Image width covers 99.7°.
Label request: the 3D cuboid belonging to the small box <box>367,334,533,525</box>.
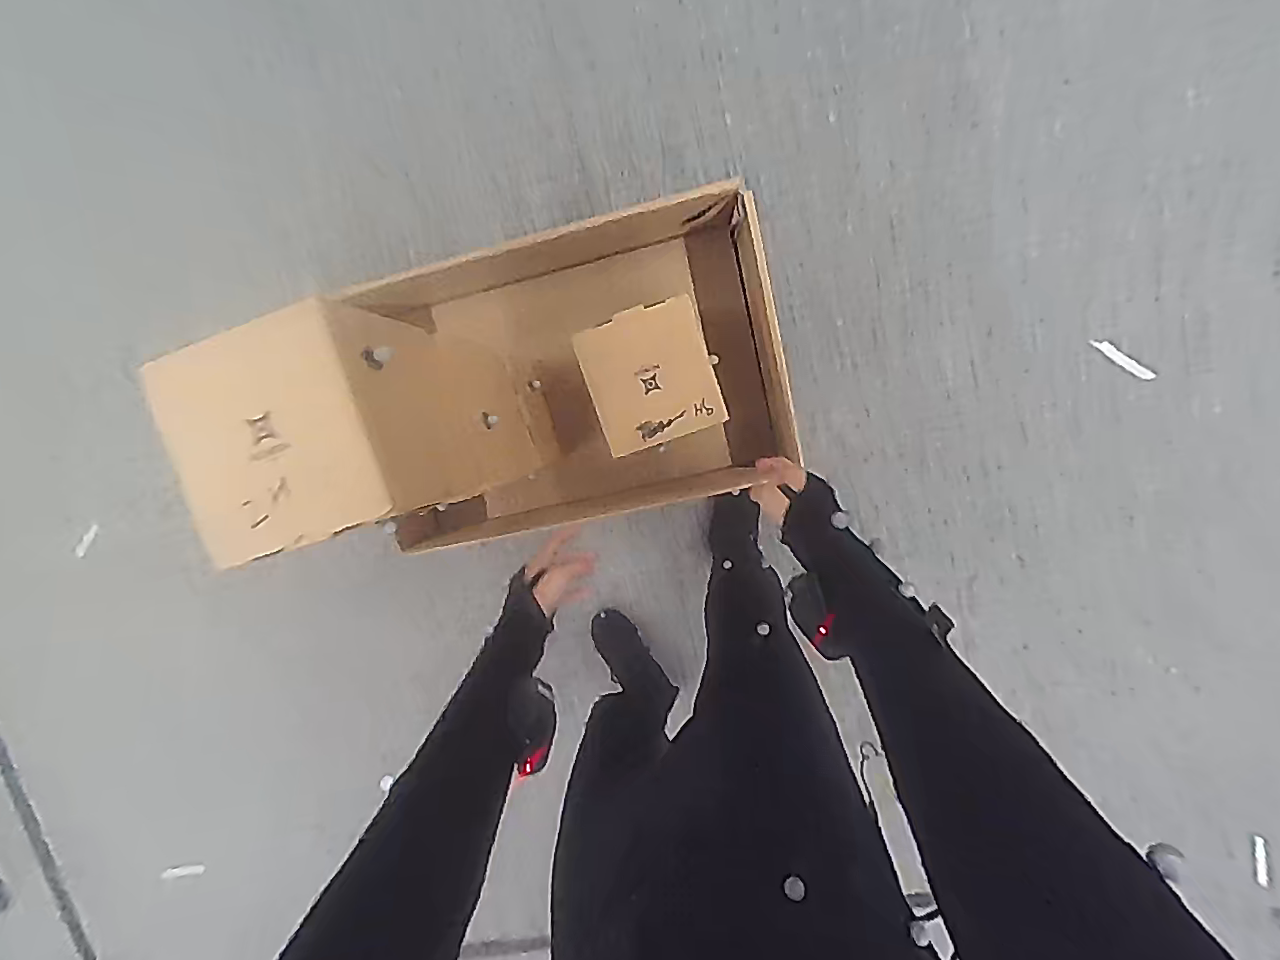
[{"bbox_3d":[-0.249,-0.062,0.662,0.168,0.176,0.179,-16,95,7],"label":"small box"}]

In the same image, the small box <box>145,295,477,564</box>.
[{"bbox_3d":[-0.279,-0.044,0.500,0.168,0.176,0.179,-18,95,8],"label":"small box"}]
